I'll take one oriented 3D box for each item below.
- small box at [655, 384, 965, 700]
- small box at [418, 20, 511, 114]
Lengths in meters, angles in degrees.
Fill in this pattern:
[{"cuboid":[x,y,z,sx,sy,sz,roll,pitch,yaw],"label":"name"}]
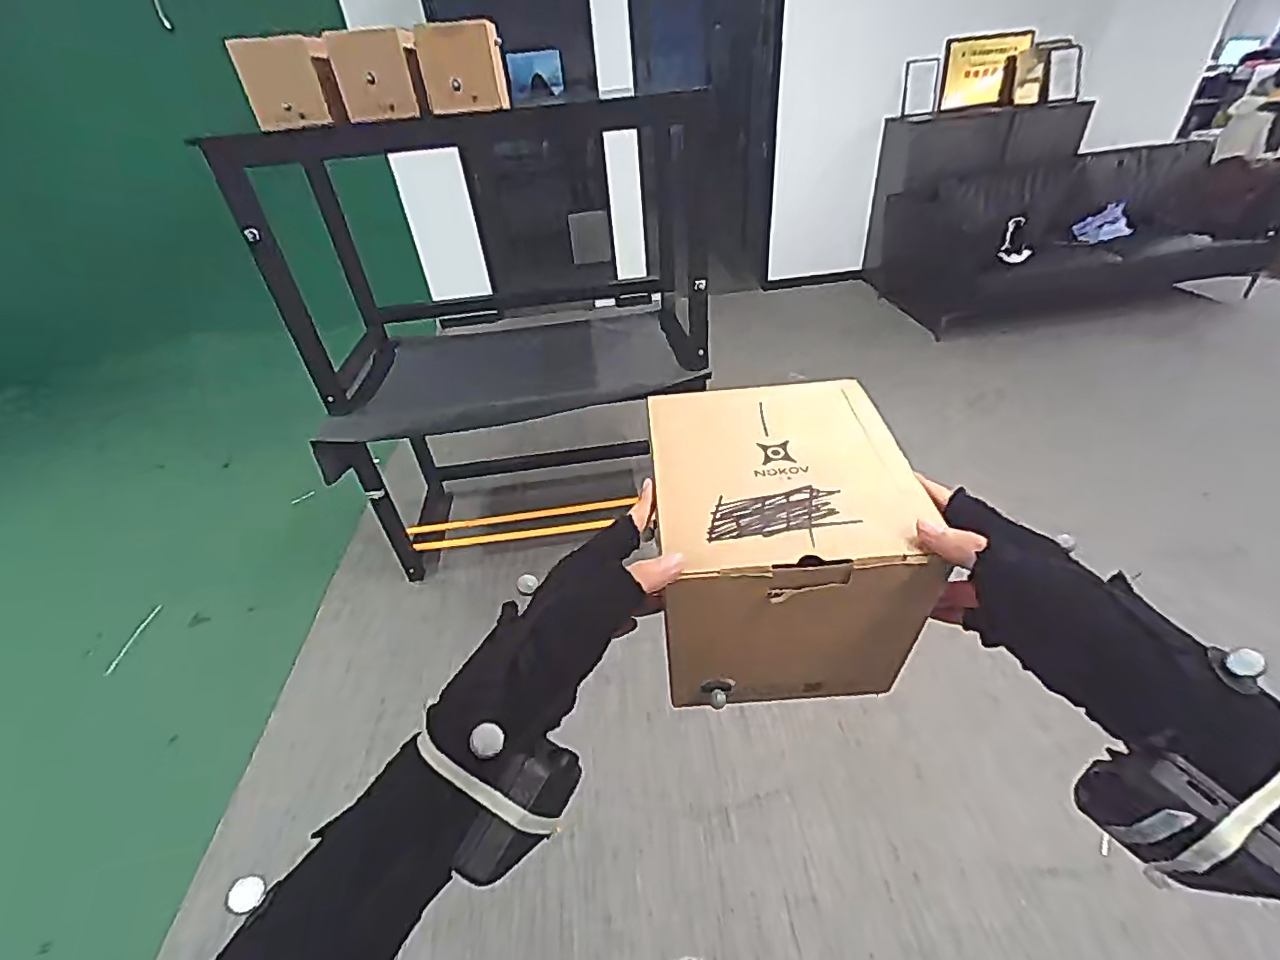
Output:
[{"cuboid":[0.101,0.050,0.408,0.168,0.176,0.179,-4,42,1],"label":"small box"},{"cuboid":[-0.413,-0.993,1.307,0.168,0.176,0.179,-7,38,-2],"label":"small box"}]
